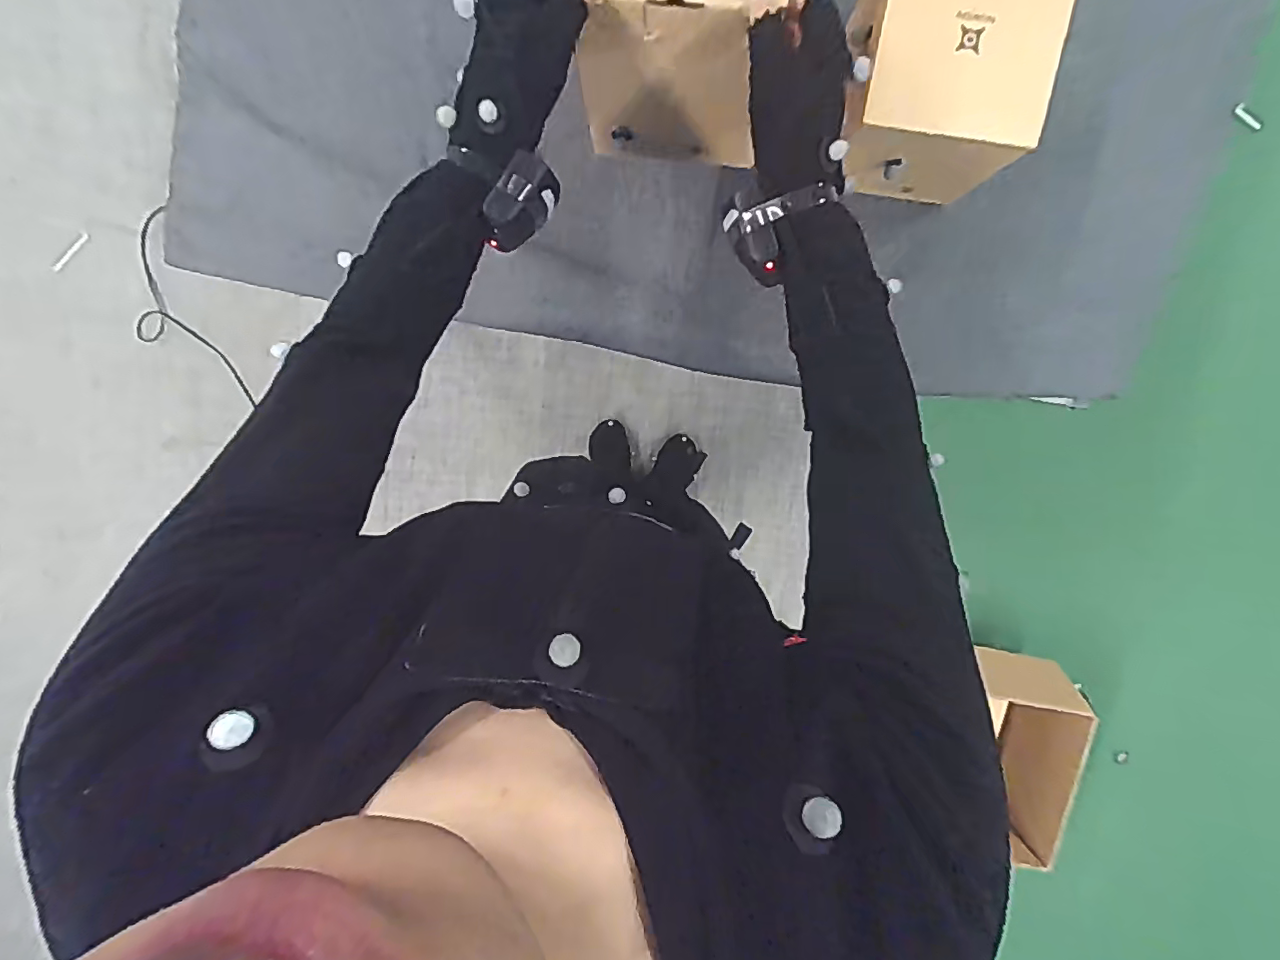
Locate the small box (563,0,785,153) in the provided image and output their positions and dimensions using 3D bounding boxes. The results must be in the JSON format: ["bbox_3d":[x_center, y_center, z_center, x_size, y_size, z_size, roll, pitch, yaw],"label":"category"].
[{"bbox_3d":[0.040,-0.420,0.467,0.168,0.176,0.179,8,86,4],"label":"small box"}]

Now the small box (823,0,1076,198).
[{"bbox_3d":[0.304,-0.419,0.565,0.168,0.176,0.179,9,100,2],"label":"small box"}]
